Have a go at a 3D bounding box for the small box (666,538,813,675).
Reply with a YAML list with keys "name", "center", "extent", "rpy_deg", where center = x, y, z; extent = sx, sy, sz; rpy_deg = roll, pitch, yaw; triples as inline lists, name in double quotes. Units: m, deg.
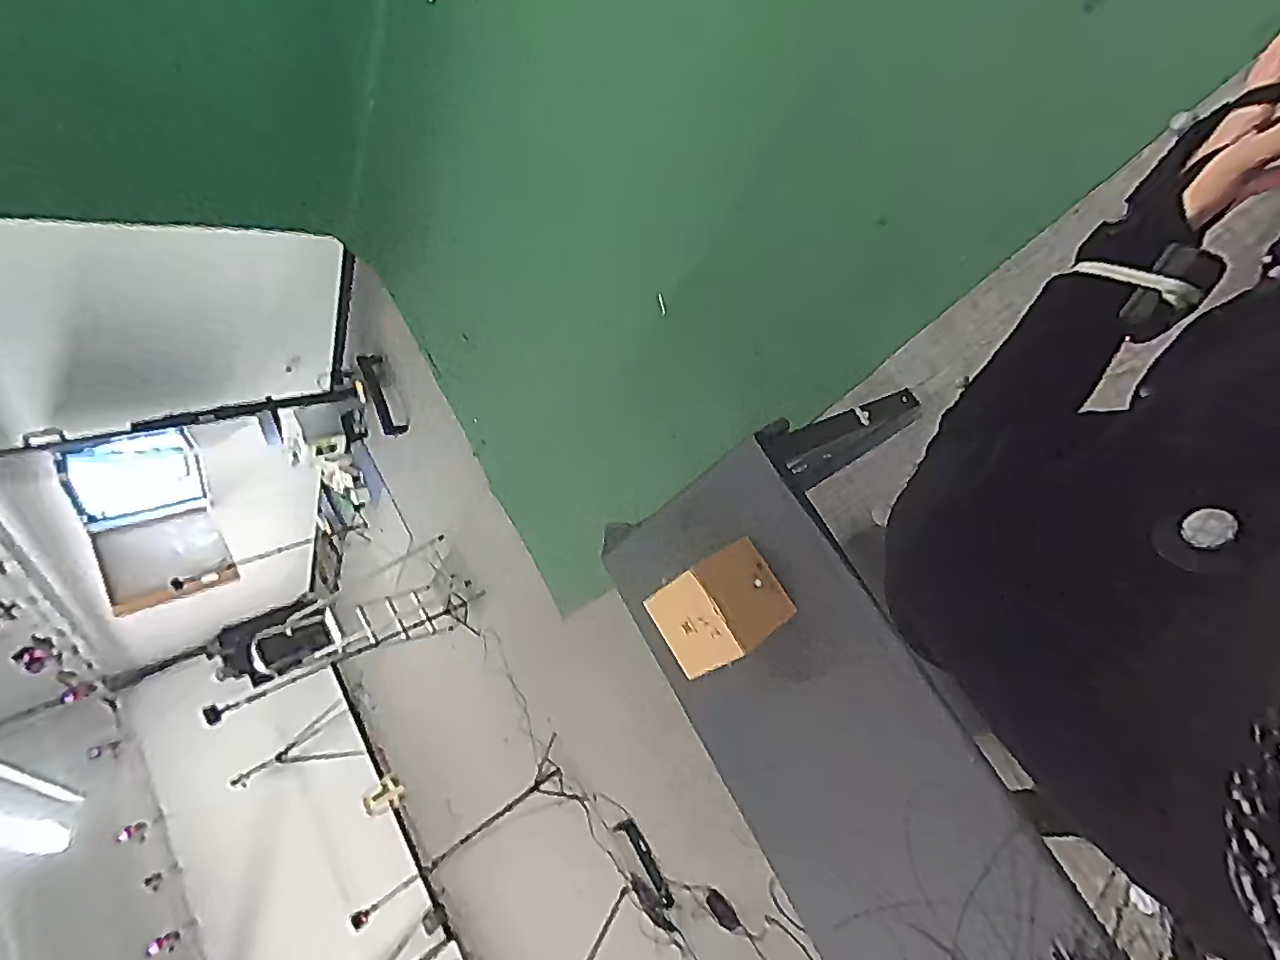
- name: "small box"
  center: [0.187, 0.235, 1.019]
  extent: [0.168, 0.176, 0.179]
  rpy_deg: [57, 139, 15]
